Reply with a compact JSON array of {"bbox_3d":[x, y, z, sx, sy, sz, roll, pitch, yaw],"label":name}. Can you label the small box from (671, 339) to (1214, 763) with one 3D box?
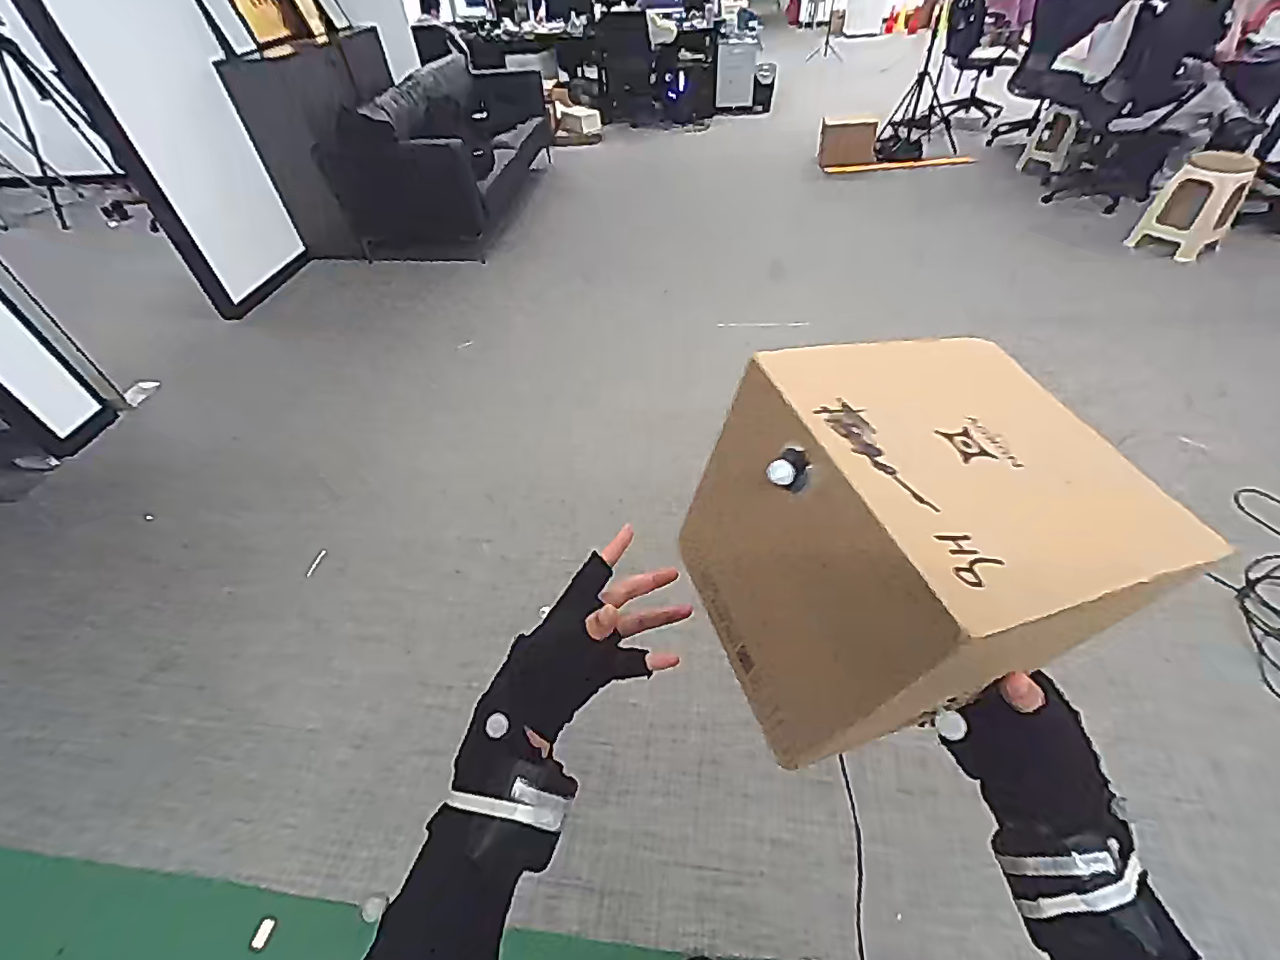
[{"bbox_3d":[0.141,0.037,0.317,0.179,0.176,0.168,-7,50,-23],"label":"small box"}]
